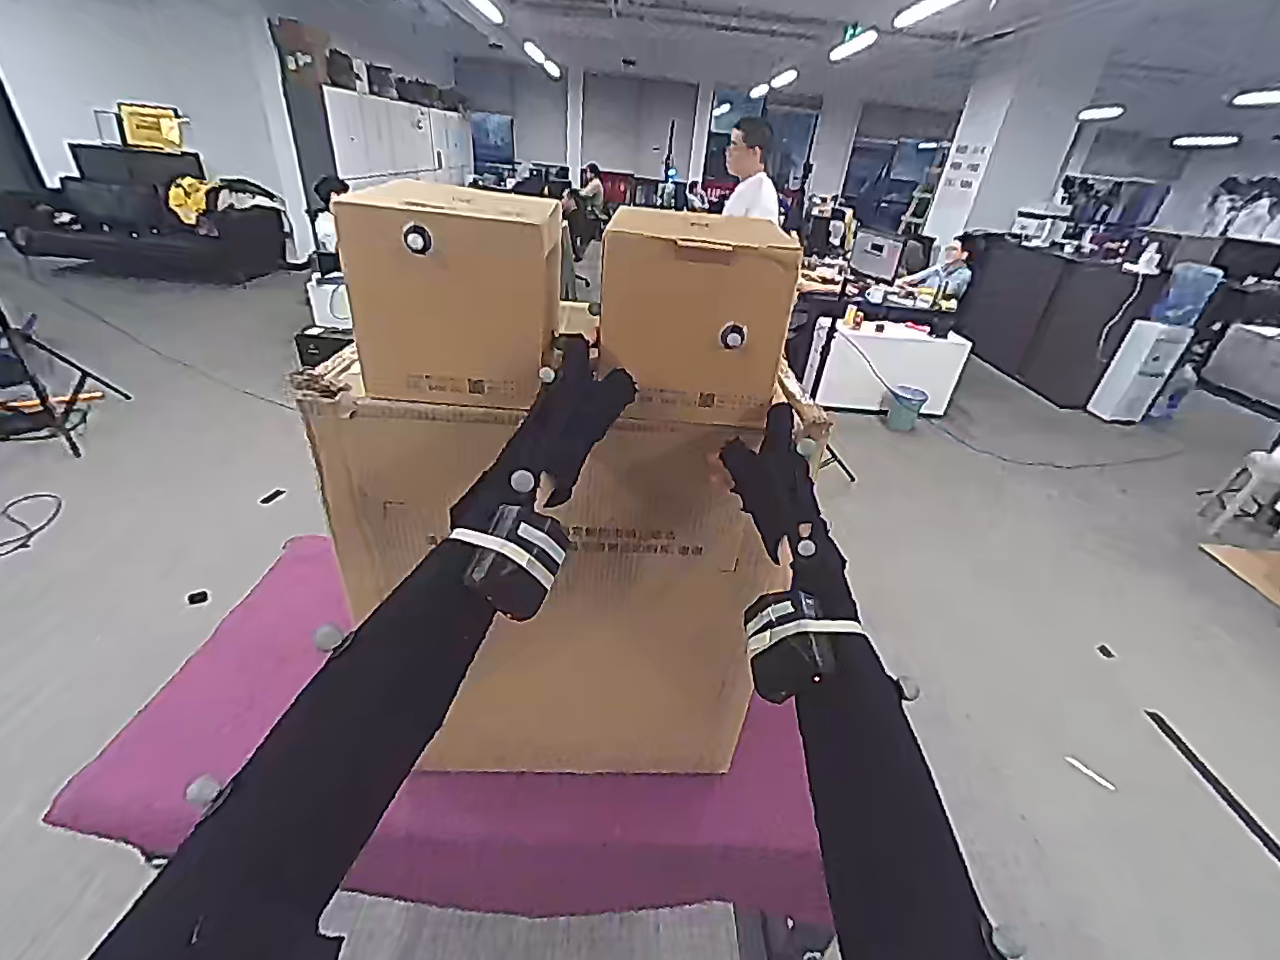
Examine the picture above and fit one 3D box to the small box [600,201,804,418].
[{"bbox_3d":[0.050,-0.174,0.546,0.168,0.176,0.179,5,32,-1],"label":"small box"}]
